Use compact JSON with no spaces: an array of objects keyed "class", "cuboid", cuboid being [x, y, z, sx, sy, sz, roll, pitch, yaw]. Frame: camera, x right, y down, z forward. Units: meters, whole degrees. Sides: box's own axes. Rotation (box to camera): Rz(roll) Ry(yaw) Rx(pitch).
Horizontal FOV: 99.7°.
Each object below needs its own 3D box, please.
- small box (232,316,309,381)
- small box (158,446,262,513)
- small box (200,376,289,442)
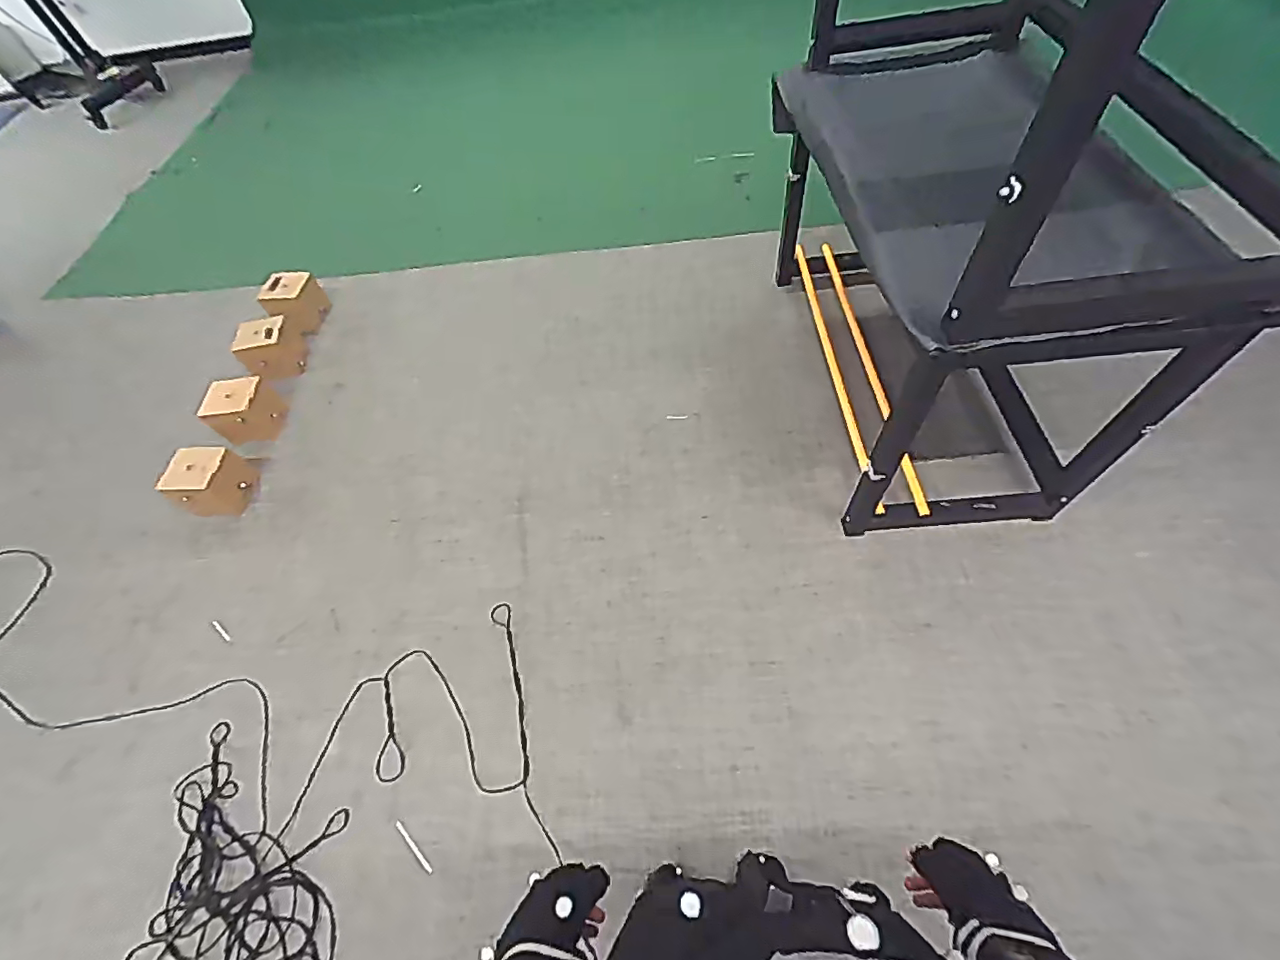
[{"class":"small box","cuboid":[-1.455,-0.518,2.143,0.179,0.176,0.168,-11,56,0]},{"class":"small box","cuboid":[-1.425,0.003,1.803,0.179,0.176,0.168,-1,58,6]},{"class":"small box","cuboid":[-1.434,-0.253,1.970,0.179,0.176,0.168,-7,57,1]}]
